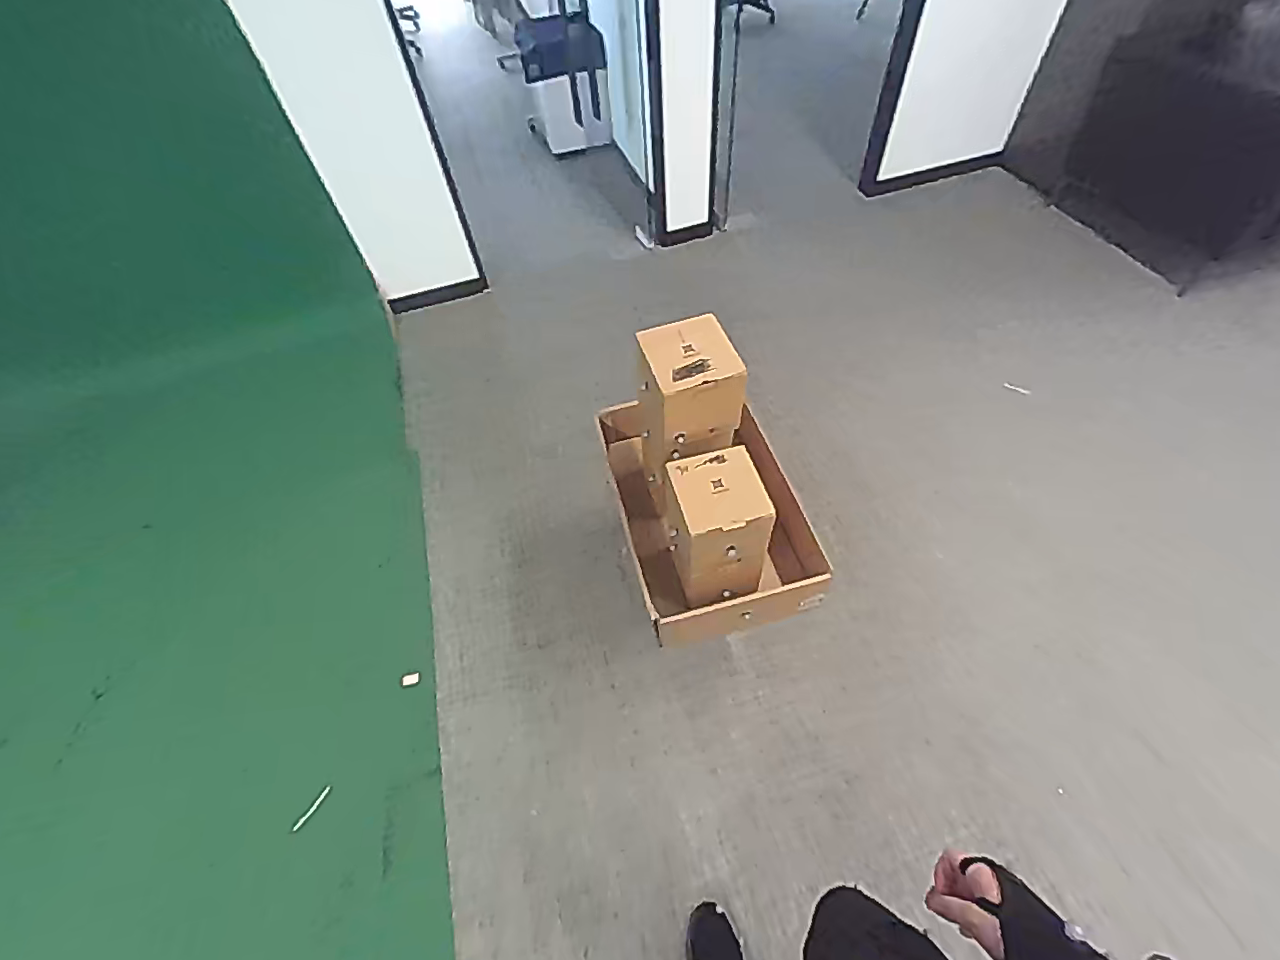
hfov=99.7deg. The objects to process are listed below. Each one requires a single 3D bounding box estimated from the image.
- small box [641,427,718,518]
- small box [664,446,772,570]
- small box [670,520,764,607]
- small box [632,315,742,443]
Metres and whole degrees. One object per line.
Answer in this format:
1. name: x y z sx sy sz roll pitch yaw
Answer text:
1. small box: 0.105 -0.032 1.373 0.168 0.176 0.179 -15 57 -6
2. small box: 0.152 0.064 1.089 0.168 0.176 0.179 -14 54 -5
3. small box: 0.166 0.160 1.220 0.168 0.176 0.179 -14 53 -4
4. small box: 0.092 -0.195 1.087 0.168 0.176 0.179 -17 57 -7
